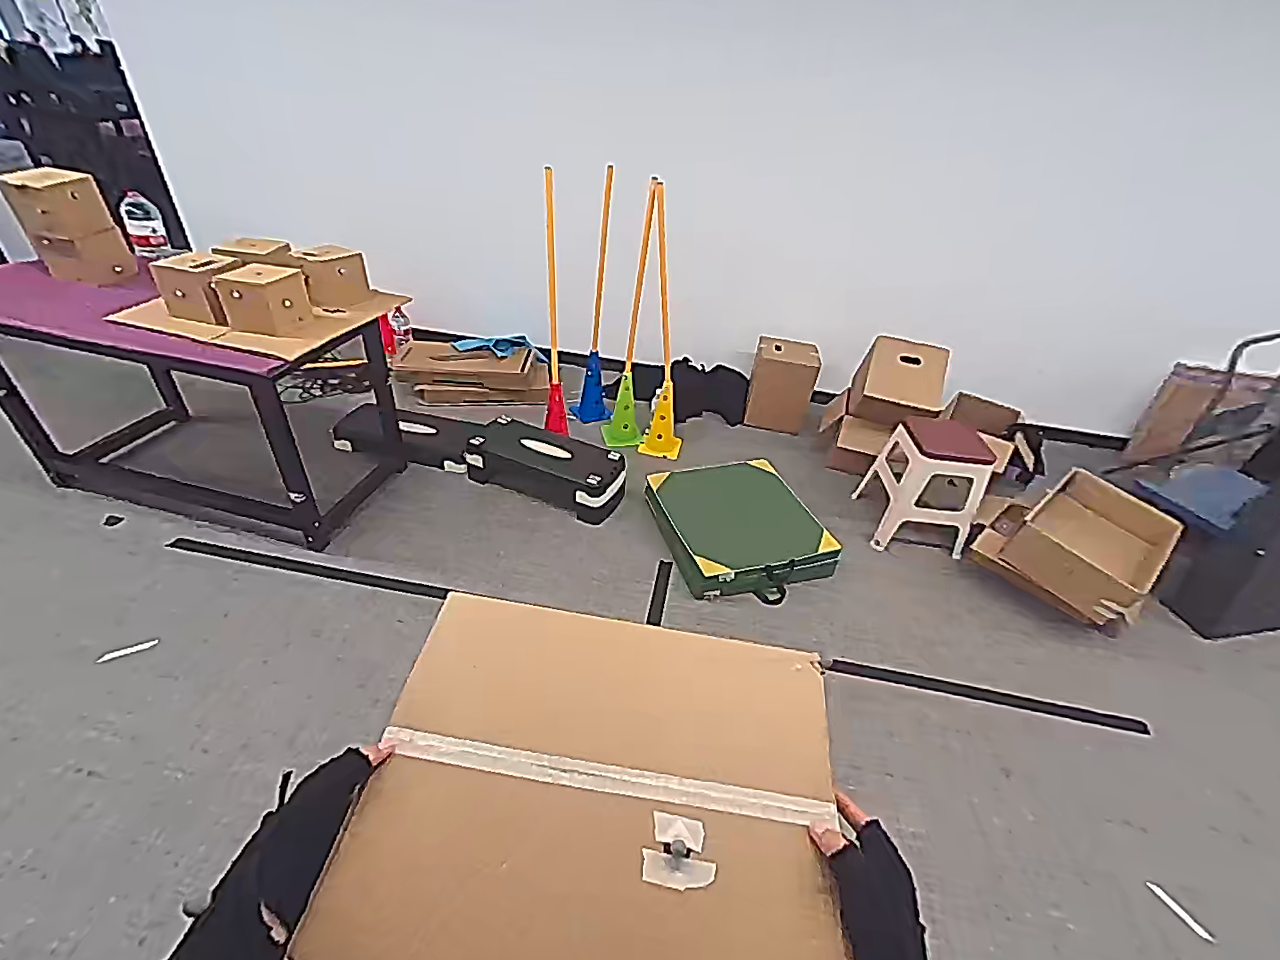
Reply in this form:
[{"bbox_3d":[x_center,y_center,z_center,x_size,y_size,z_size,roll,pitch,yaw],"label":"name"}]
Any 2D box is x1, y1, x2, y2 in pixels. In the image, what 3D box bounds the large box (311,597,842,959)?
[{"bbox_3d":[-0.043,0.369,0.596,0.408,0.320,0.320,10,46,2],"label":"large box"}]
